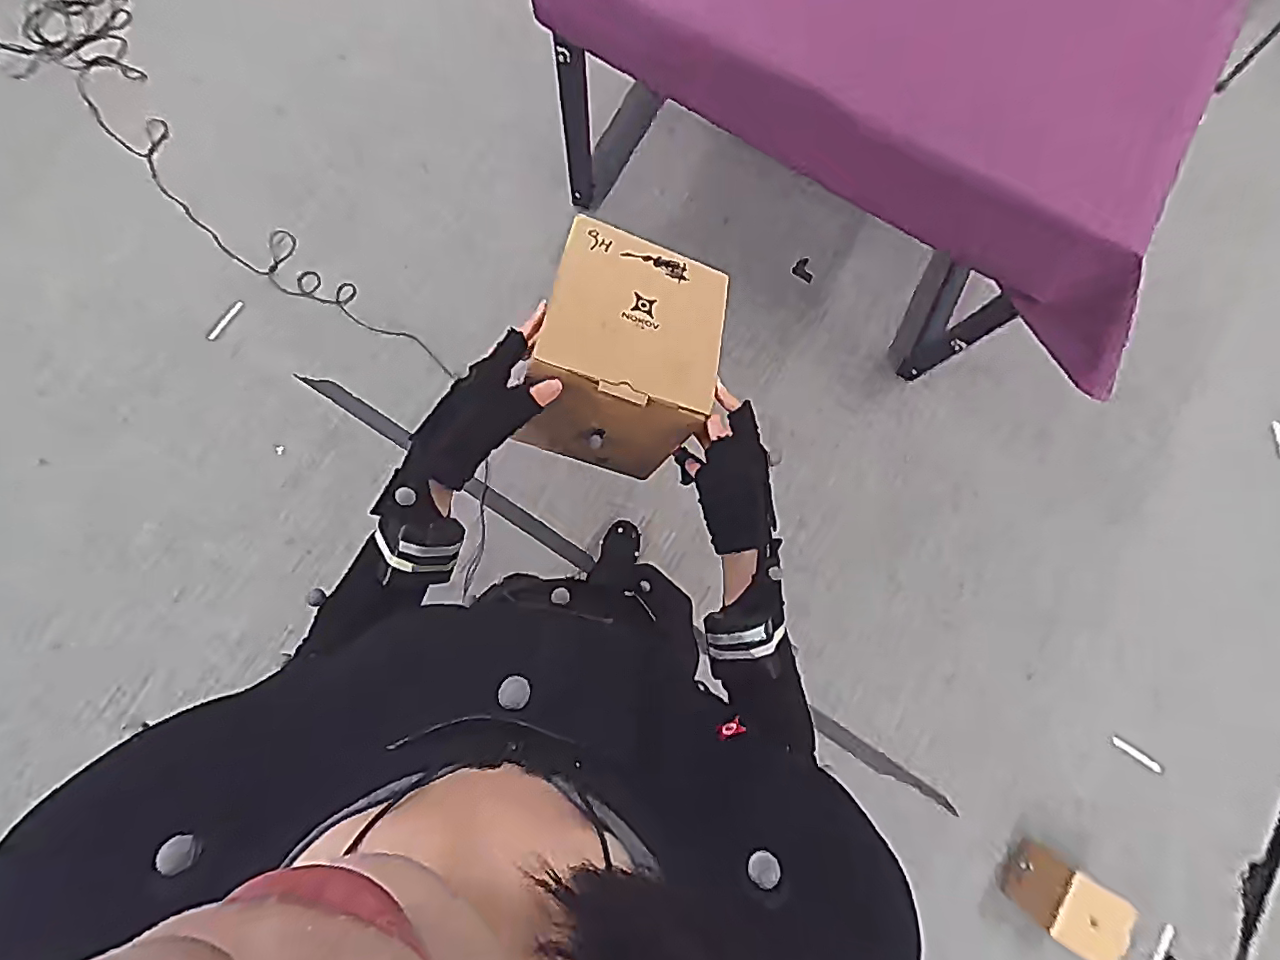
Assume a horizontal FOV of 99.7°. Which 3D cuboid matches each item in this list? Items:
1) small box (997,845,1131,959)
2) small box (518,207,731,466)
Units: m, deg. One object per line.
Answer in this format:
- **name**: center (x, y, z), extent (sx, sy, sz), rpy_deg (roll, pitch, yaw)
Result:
- **small box**: center (1.068, 1.079, 1.373), extent (0.179, 0.176, 0.168), rpy_deg (33, 80, 3)
- **small box**: center (-0.024, -0.133, 0.568), extent (0.168, 0.176, 0.179), rpy_deg (17, 66, -15)
